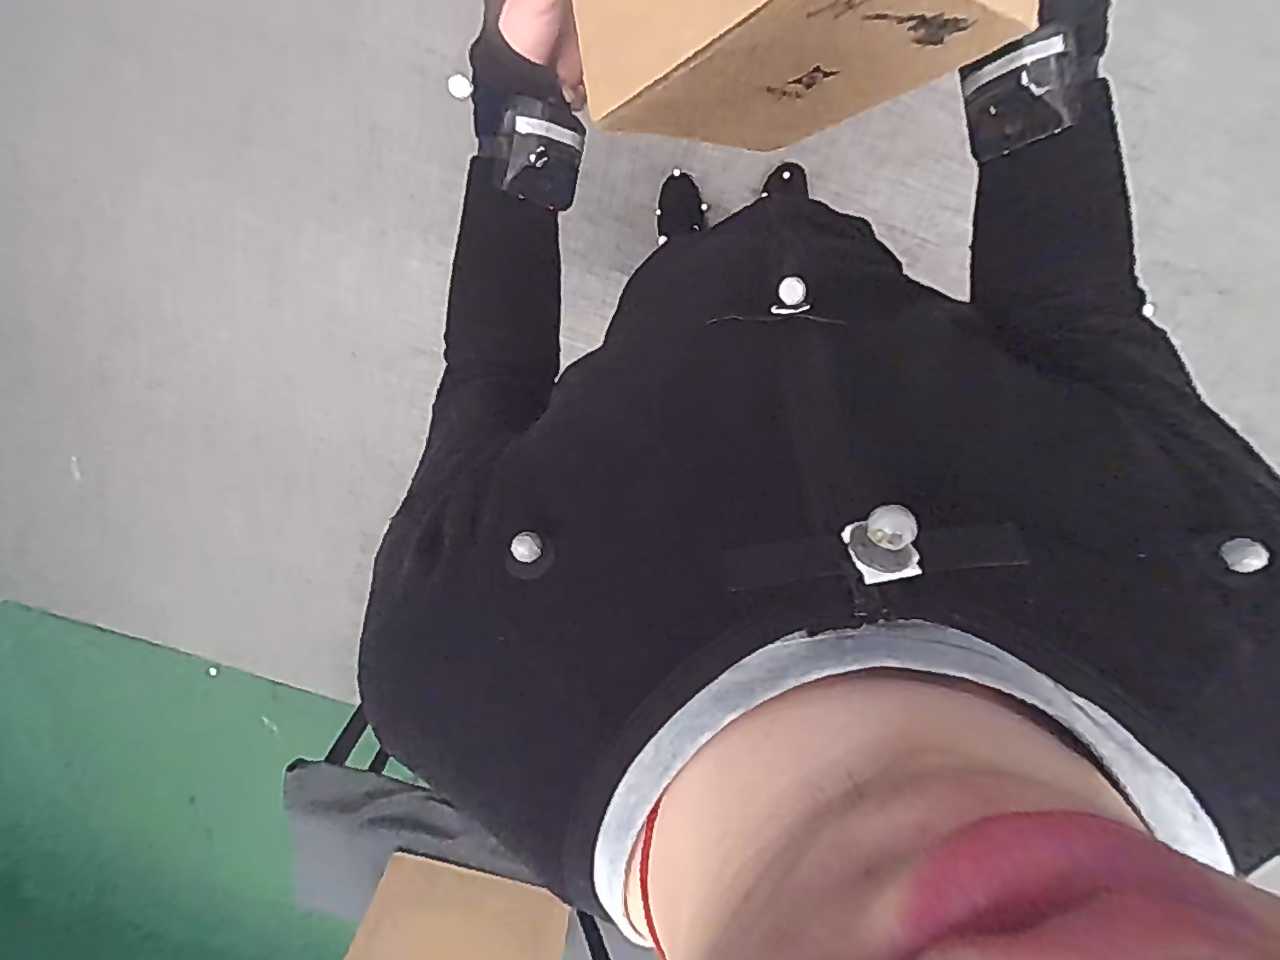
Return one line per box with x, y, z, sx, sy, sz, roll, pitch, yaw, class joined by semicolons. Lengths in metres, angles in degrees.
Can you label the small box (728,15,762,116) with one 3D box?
0.292;-0.887;1.115;0.179;0.176;0.168;-25;113;18;small box
